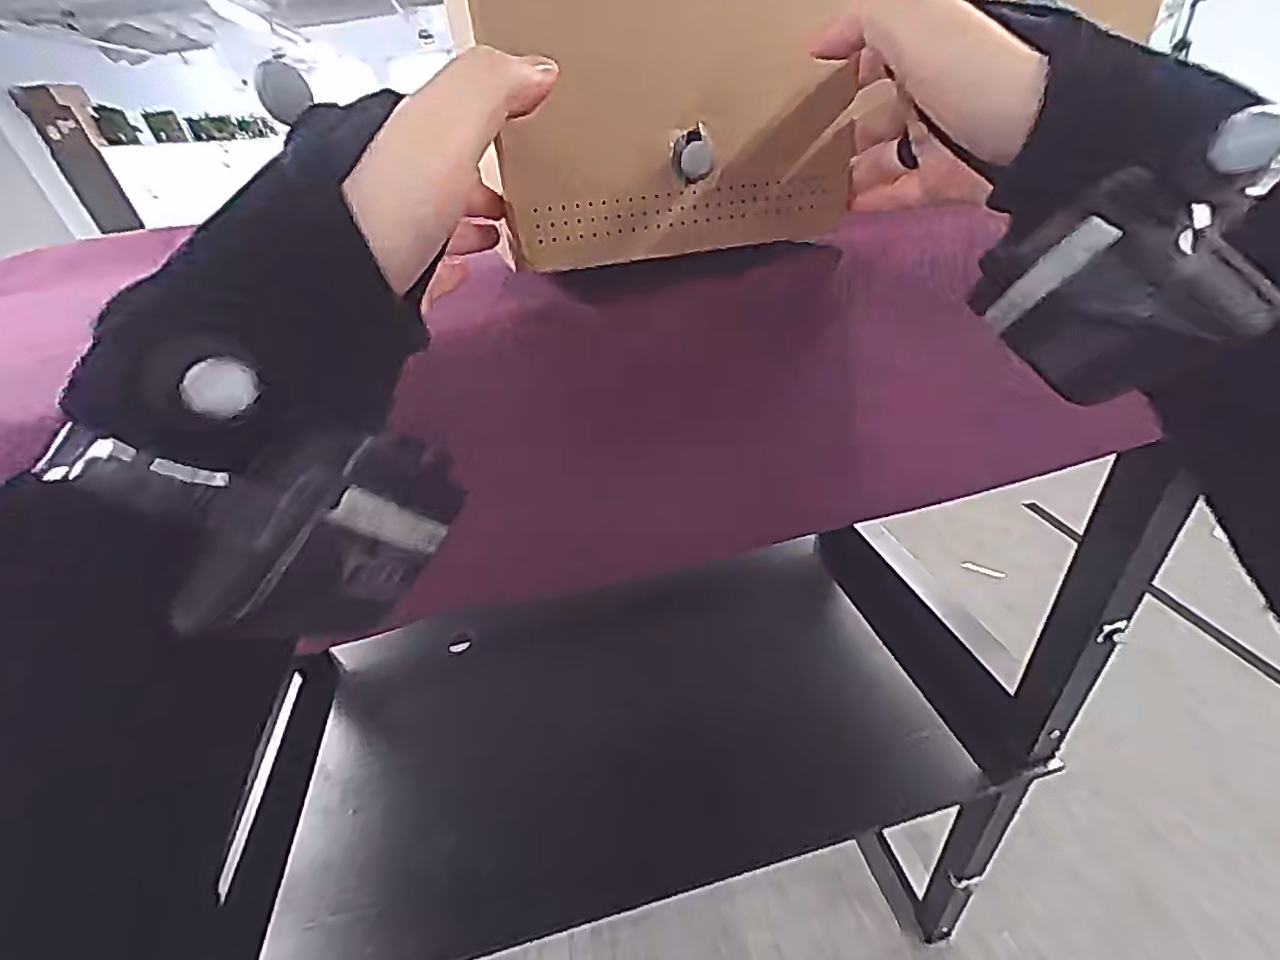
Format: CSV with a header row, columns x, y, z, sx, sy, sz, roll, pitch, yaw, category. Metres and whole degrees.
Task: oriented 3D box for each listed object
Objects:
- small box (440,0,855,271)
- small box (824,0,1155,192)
x,y,z,sx,sy,sz,roll,pitch,yaw,category
-0.007,-0.217,0.287,0.179,0.176,0.168,-13,29,-12,small box
0.220,-0.318,0.392,0.168,0.176,0.179,-13,34,-3,small box
